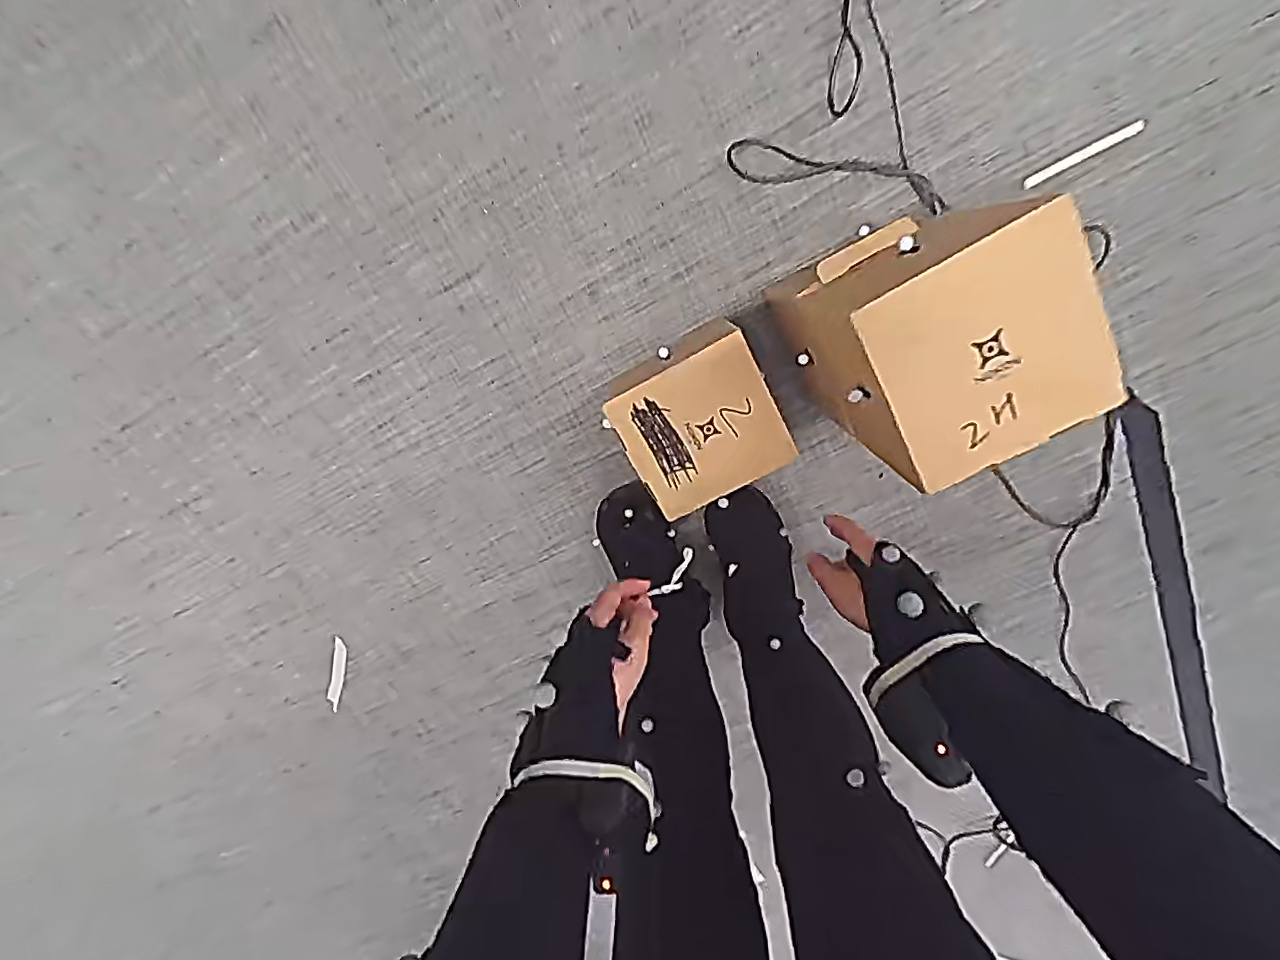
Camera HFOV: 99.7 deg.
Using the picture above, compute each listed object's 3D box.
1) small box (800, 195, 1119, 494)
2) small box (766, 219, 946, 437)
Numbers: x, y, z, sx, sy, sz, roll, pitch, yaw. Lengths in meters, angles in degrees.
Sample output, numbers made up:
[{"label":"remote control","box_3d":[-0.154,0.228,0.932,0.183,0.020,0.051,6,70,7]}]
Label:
[{"label":"small box","box_3d":[0.267,-0.121,0.490,0.168,0.176,0.179,-28,109,12]},{"label":"small box","box_3d":[0.268,-0.180,0.644,0.168,0.176,0.179,-26,109,11]}]
